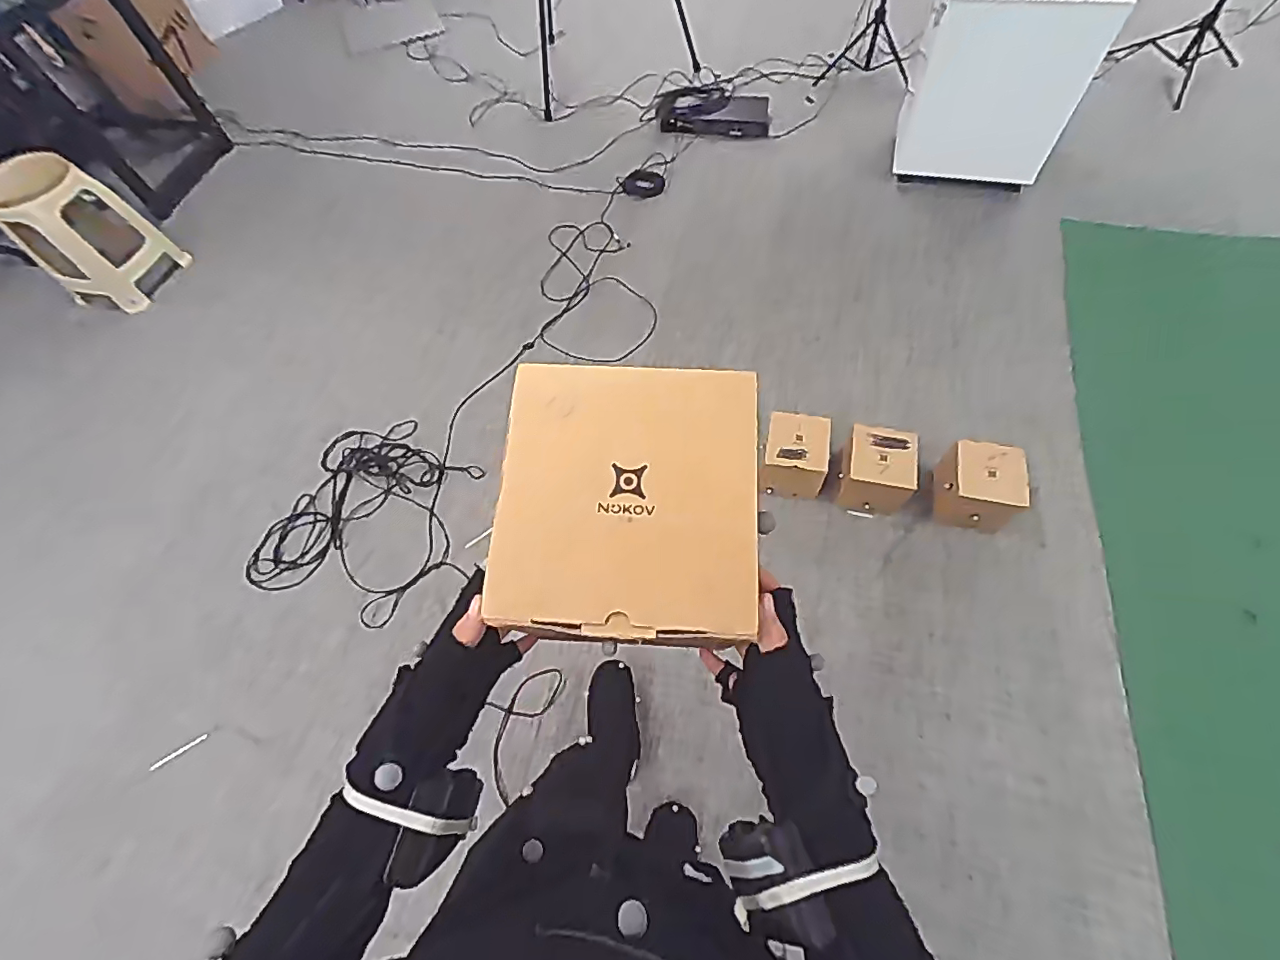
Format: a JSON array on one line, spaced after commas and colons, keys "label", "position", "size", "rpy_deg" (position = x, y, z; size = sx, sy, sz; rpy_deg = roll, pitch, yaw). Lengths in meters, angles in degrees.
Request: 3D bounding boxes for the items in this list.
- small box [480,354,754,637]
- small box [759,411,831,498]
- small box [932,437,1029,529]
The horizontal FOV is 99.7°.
[{"label": "small box", "position": [-0.008, 0.023, 0.420], "size": [0.168, 0.176, 0.179], "rpy_deg": [2, 72, 3]}, {"label": "small box", "position": [0.433, -0.068, 1.528], "size": [0.168, 0.176, 0.179], "rpy_deg": [9, 62, 11]}, {"label": "small box", "position": [0.899, 0.014, 1.440], "size": [0.168, 0.176, 0.179], "rpy_deg": [11, 63, 10]}]
